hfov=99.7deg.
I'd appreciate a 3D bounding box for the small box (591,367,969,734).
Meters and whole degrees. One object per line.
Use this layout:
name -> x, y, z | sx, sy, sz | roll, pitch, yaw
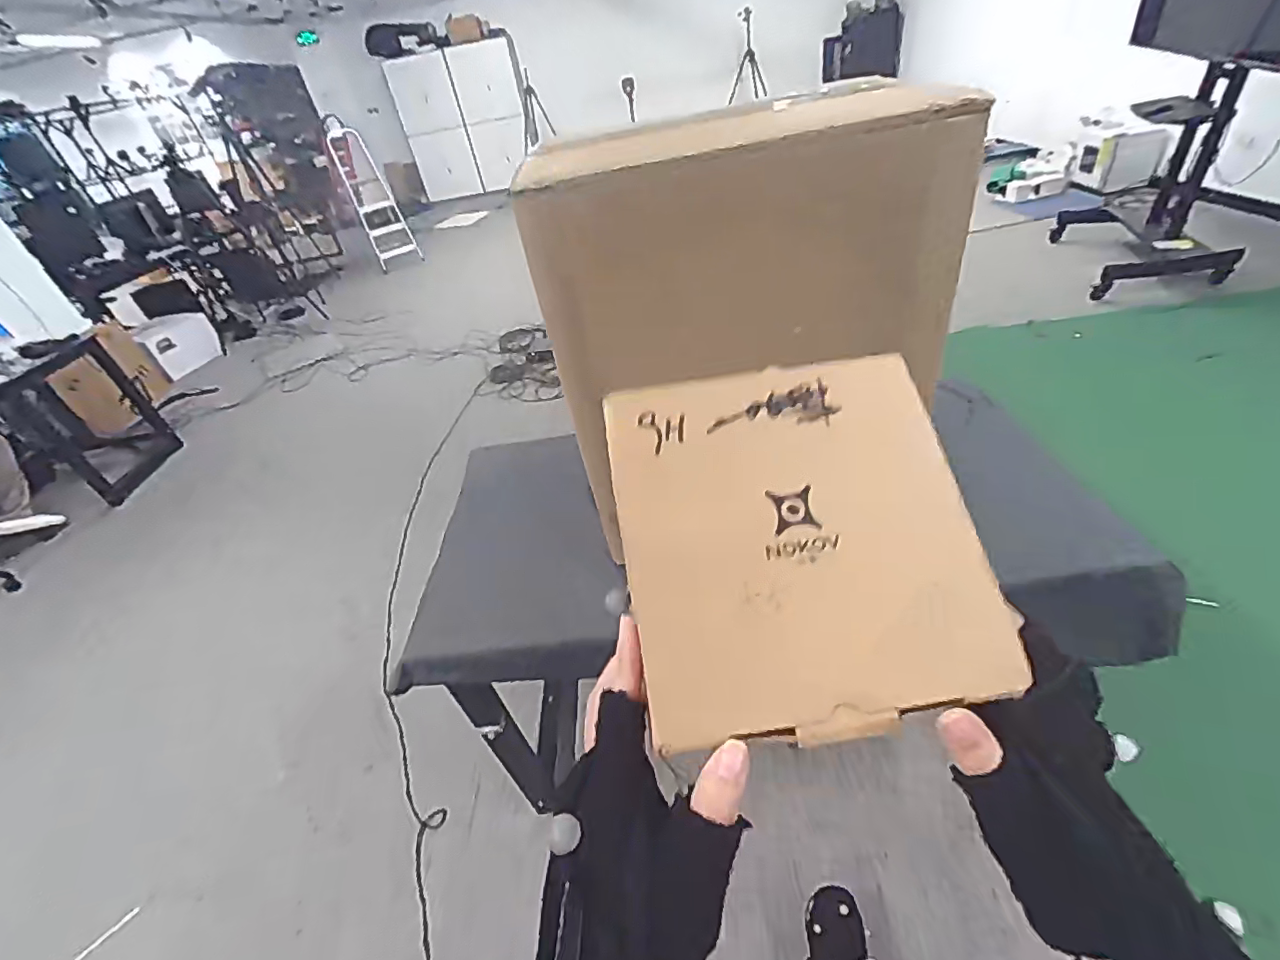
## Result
small box -> 0.068, 0.054, 0.361 | 0.168, 0.176, 0.179 | -10, 69, -3
